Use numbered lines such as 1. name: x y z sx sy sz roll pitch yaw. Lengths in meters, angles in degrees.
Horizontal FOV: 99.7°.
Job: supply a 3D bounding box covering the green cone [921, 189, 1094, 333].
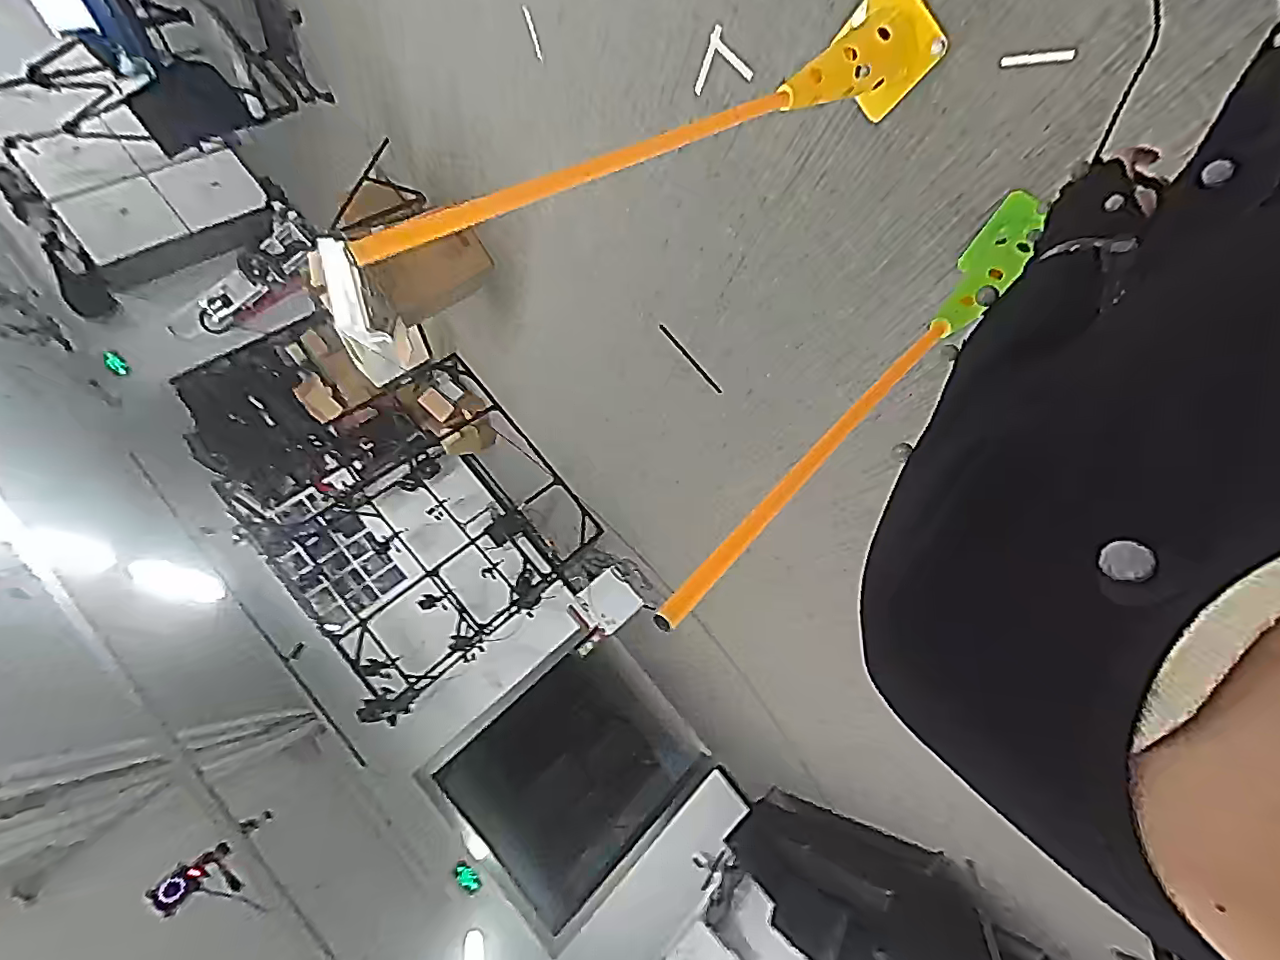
1. green cone: 0.685 -0.393 1.087 0.202 0.368 0.200 46 156 17
